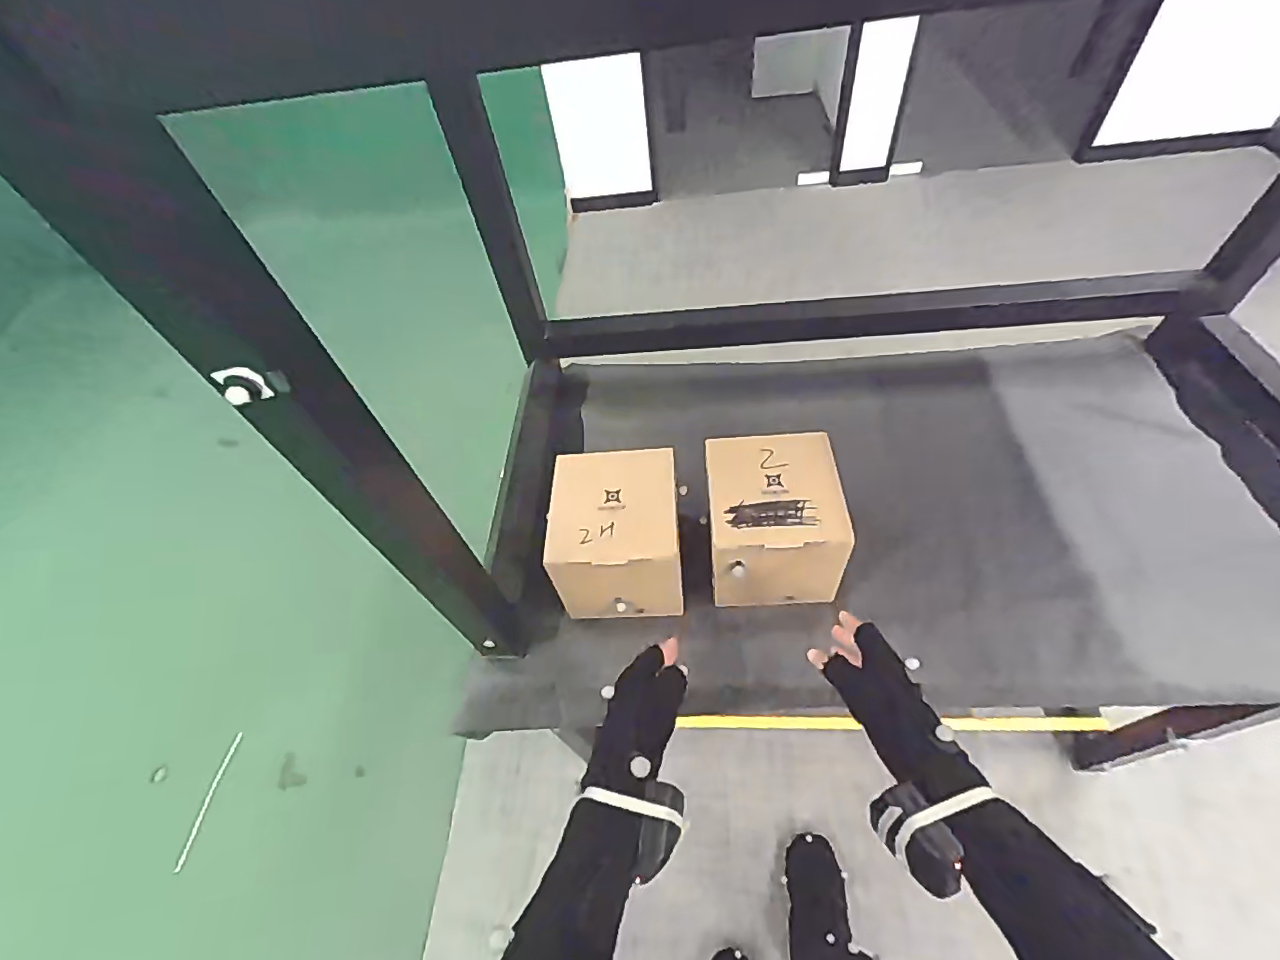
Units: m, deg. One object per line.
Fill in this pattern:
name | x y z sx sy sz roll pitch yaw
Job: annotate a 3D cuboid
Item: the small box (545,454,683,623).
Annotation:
small box | -0.026 0.085 0.764 0.168 0.176 0.179 -4 52 5
